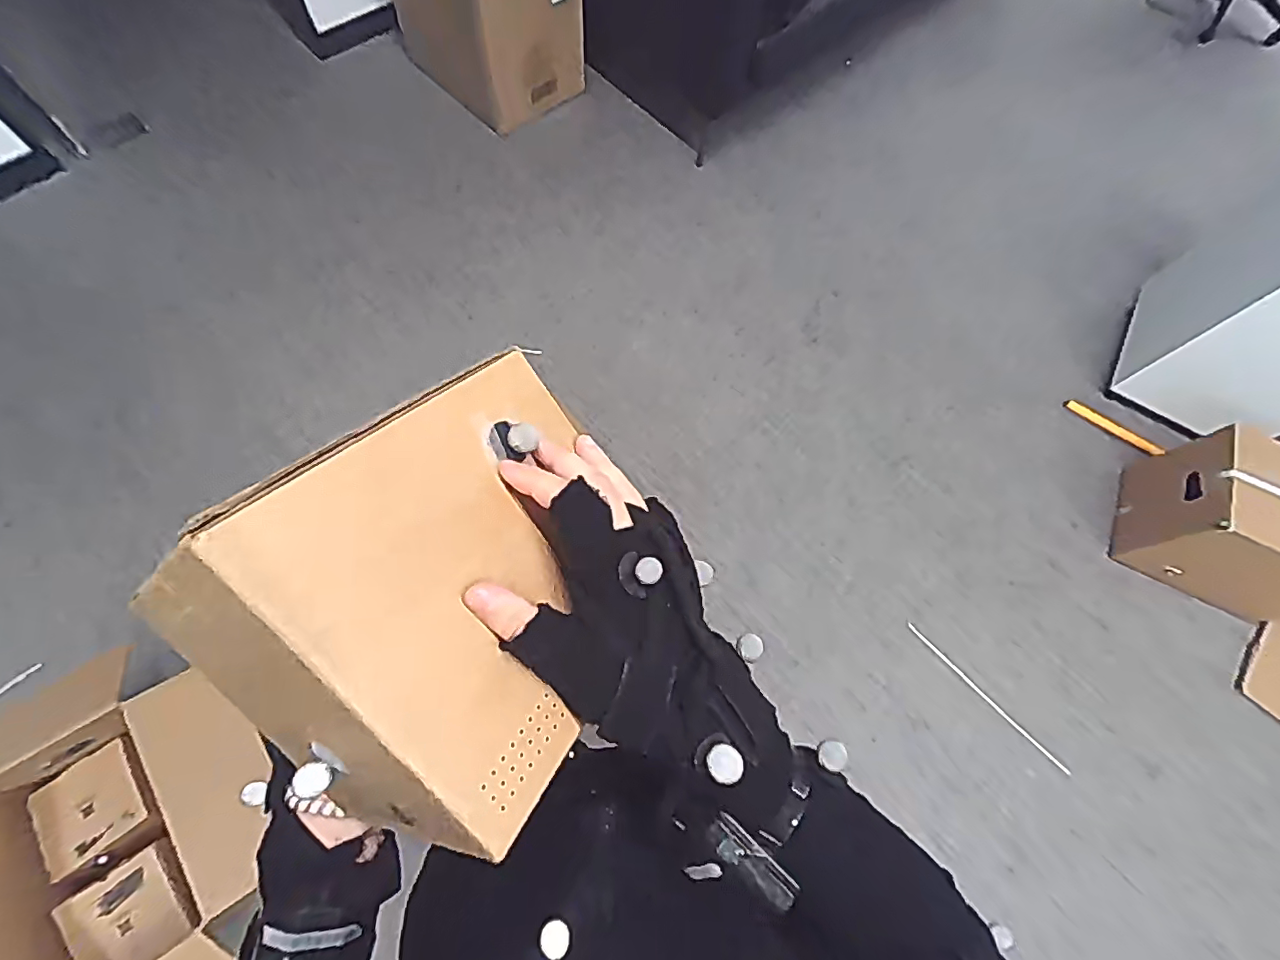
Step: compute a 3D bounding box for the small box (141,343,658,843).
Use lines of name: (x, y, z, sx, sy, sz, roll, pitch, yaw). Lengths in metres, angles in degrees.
small box: (-0.114, 0.056, 0.305, 0.176, 0.168, 0.179, 56, 41, -15)
